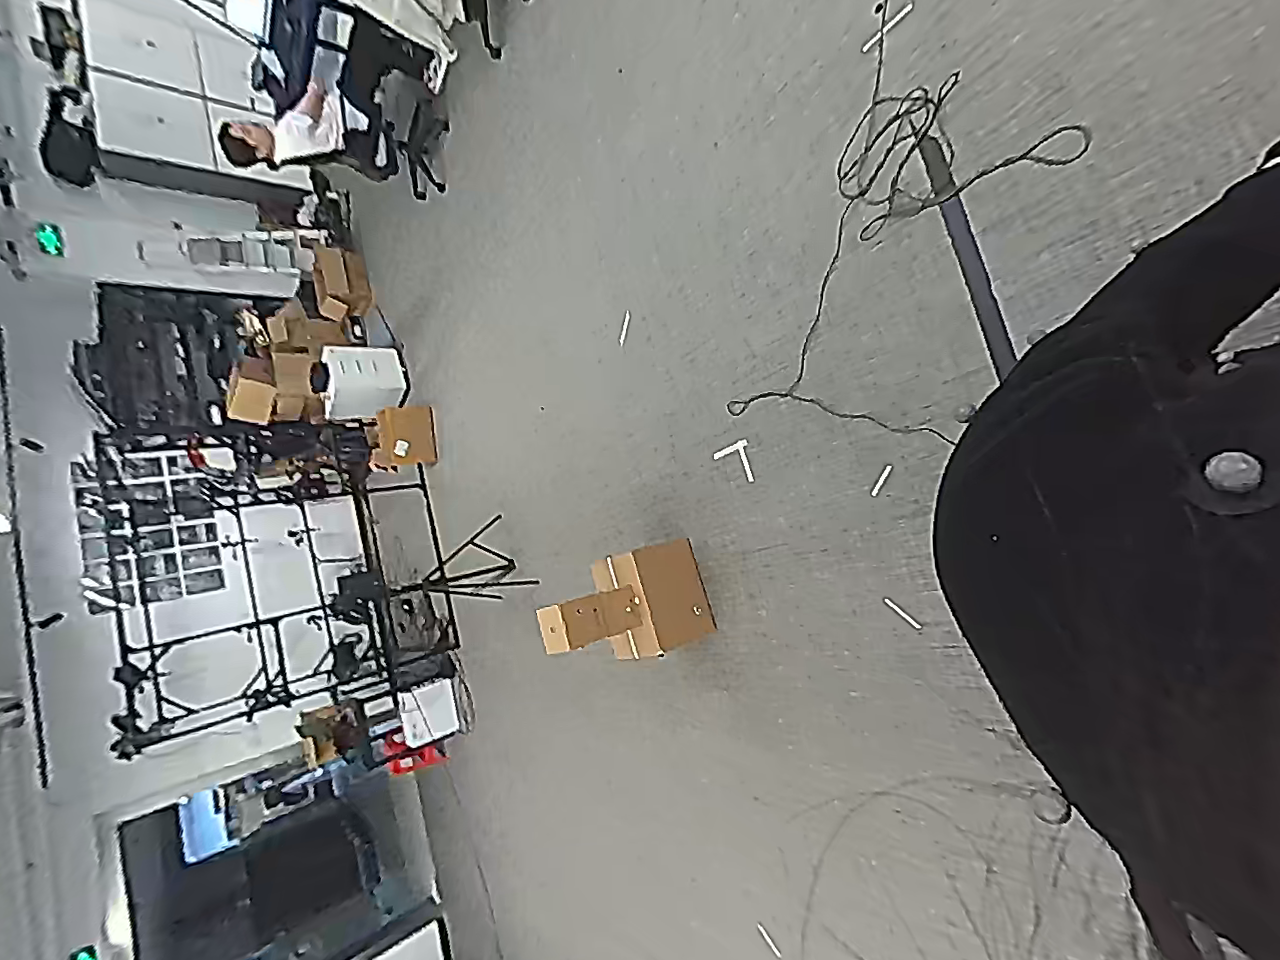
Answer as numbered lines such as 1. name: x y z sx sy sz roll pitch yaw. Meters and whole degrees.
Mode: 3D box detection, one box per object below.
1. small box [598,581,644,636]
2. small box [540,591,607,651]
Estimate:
1. small box: -0.114 0.498 2.076 0.179 0.176 0.168 -28 76 48
2. small box: -0.235 0.511 1.968 0.179 0.176 0.168 -30 73 49
